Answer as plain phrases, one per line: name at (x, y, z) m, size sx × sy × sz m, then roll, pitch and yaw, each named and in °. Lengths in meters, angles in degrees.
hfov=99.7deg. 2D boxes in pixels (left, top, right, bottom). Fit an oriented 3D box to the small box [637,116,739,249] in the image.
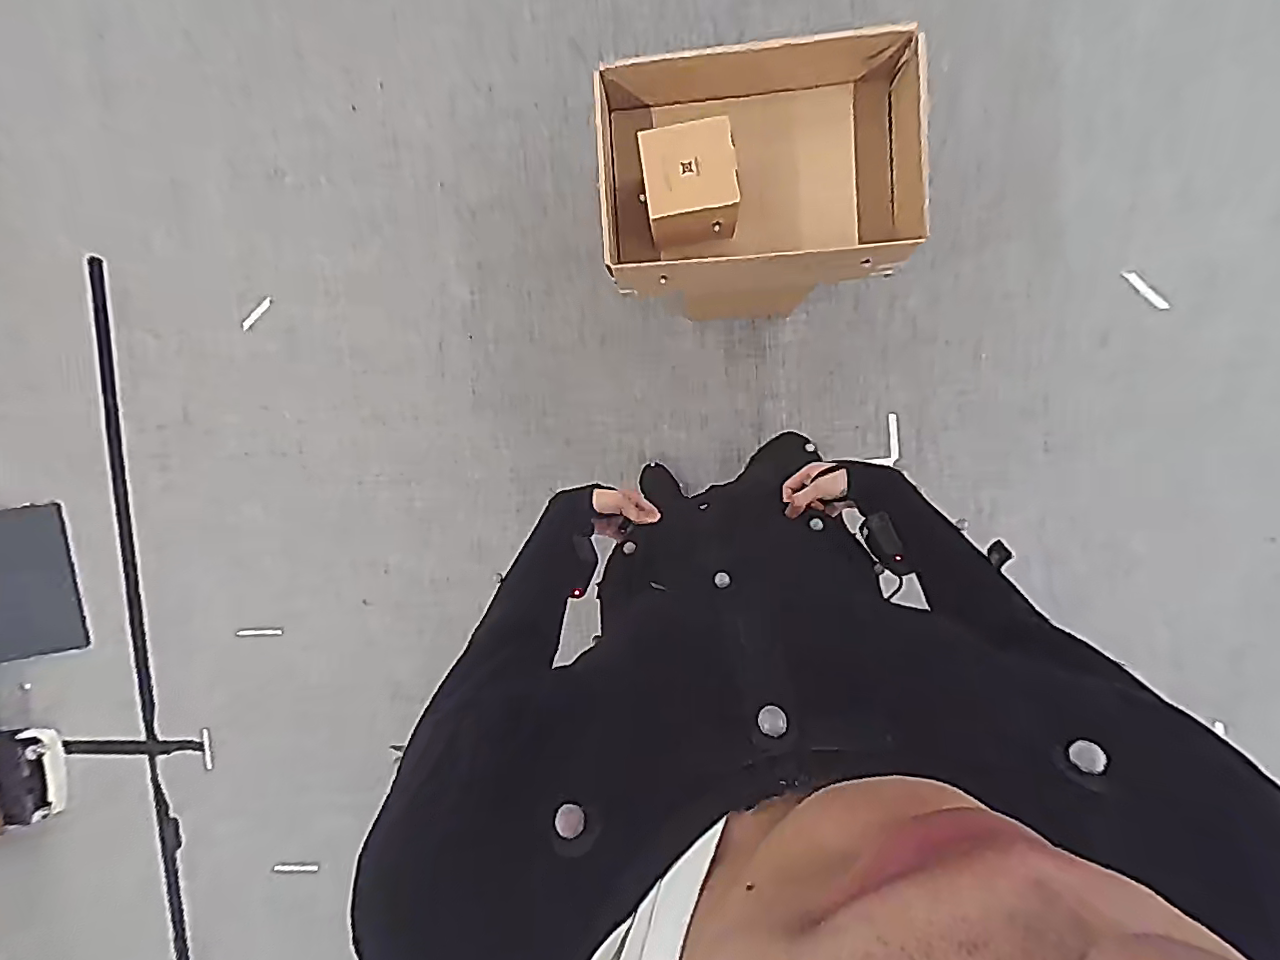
small box at (0.096, -0.588, 1.089) m, size 0.179 × 0.176 × 0.168 m, roll -8°, pitch 92°, yaw 6°
